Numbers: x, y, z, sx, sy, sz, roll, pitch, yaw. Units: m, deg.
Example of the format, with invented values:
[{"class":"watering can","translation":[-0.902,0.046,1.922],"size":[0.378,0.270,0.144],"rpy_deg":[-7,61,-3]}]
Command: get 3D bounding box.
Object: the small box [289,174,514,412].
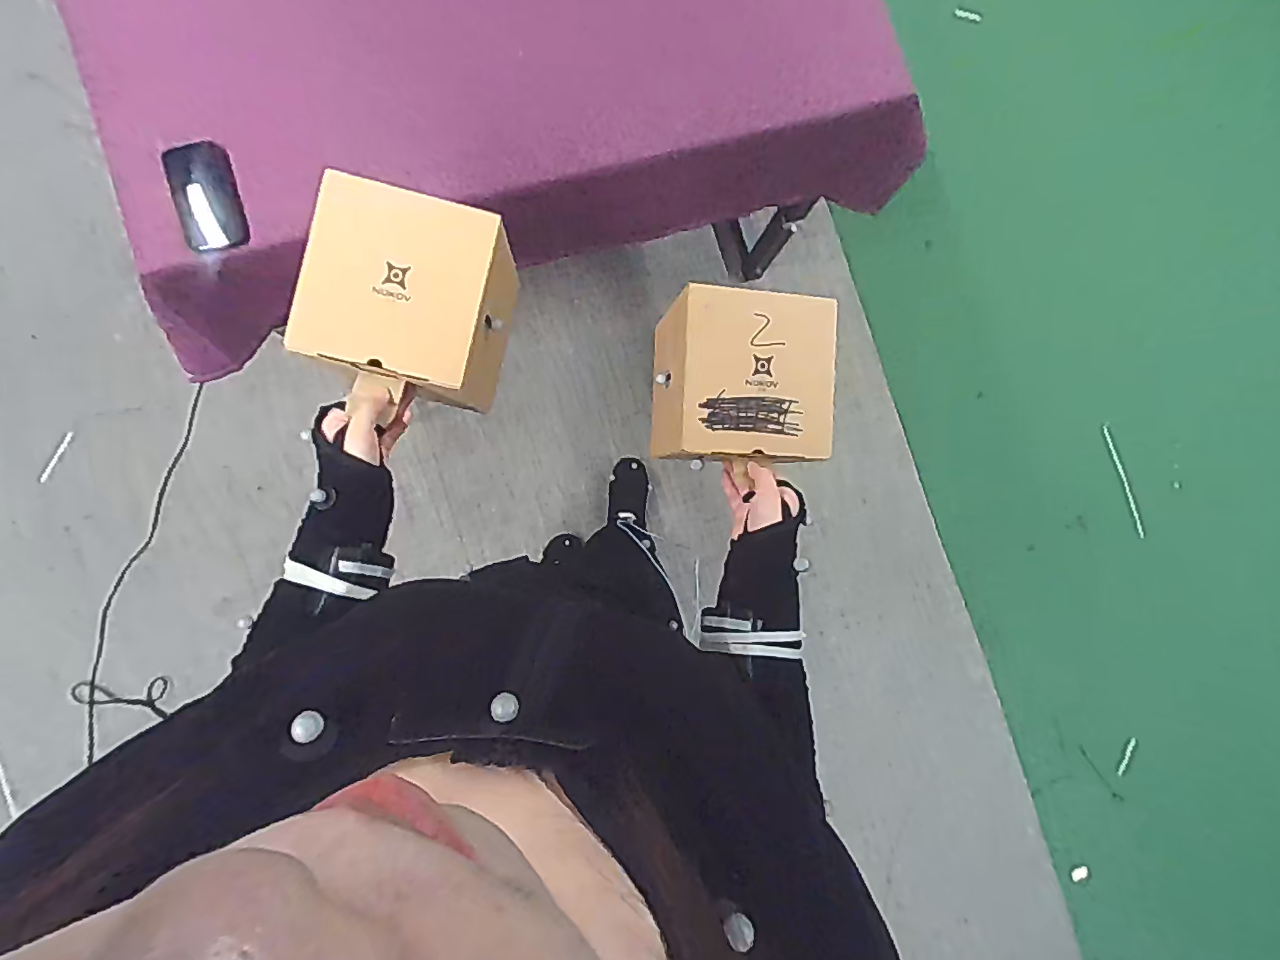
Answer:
[{"class":"small box","translation":[-0.239,-0.184,0.590],"size":[0.168,0.176,0.179],"rpy_deg":[12,88,-7]}]
